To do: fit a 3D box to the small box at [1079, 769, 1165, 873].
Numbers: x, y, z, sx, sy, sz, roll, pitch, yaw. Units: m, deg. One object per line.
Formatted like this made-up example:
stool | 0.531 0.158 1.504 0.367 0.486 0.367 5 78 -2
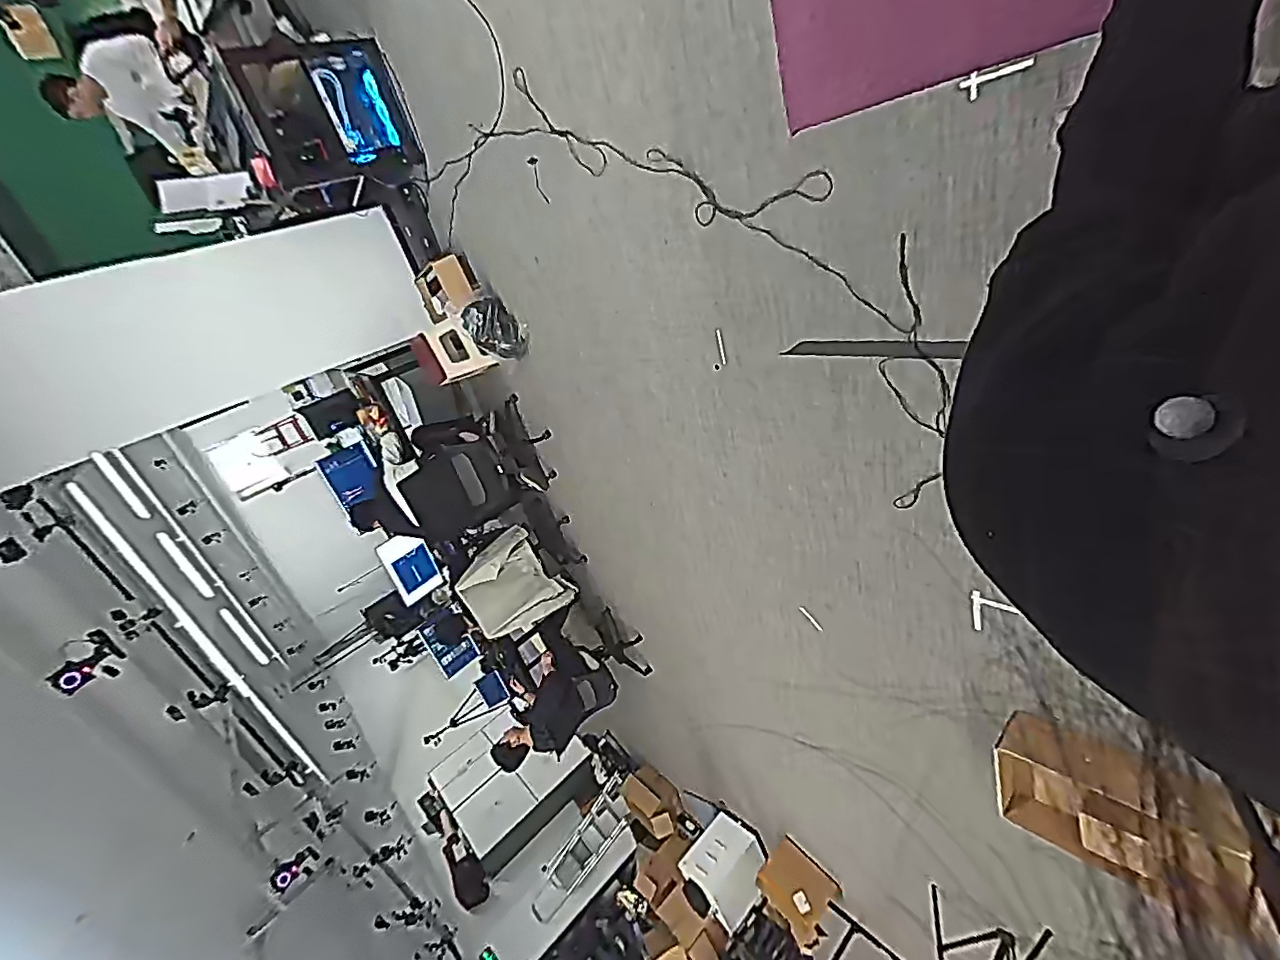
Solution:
small box | 1.487 1.041 1.664 0.168 0.176 0.179 4 122 53
